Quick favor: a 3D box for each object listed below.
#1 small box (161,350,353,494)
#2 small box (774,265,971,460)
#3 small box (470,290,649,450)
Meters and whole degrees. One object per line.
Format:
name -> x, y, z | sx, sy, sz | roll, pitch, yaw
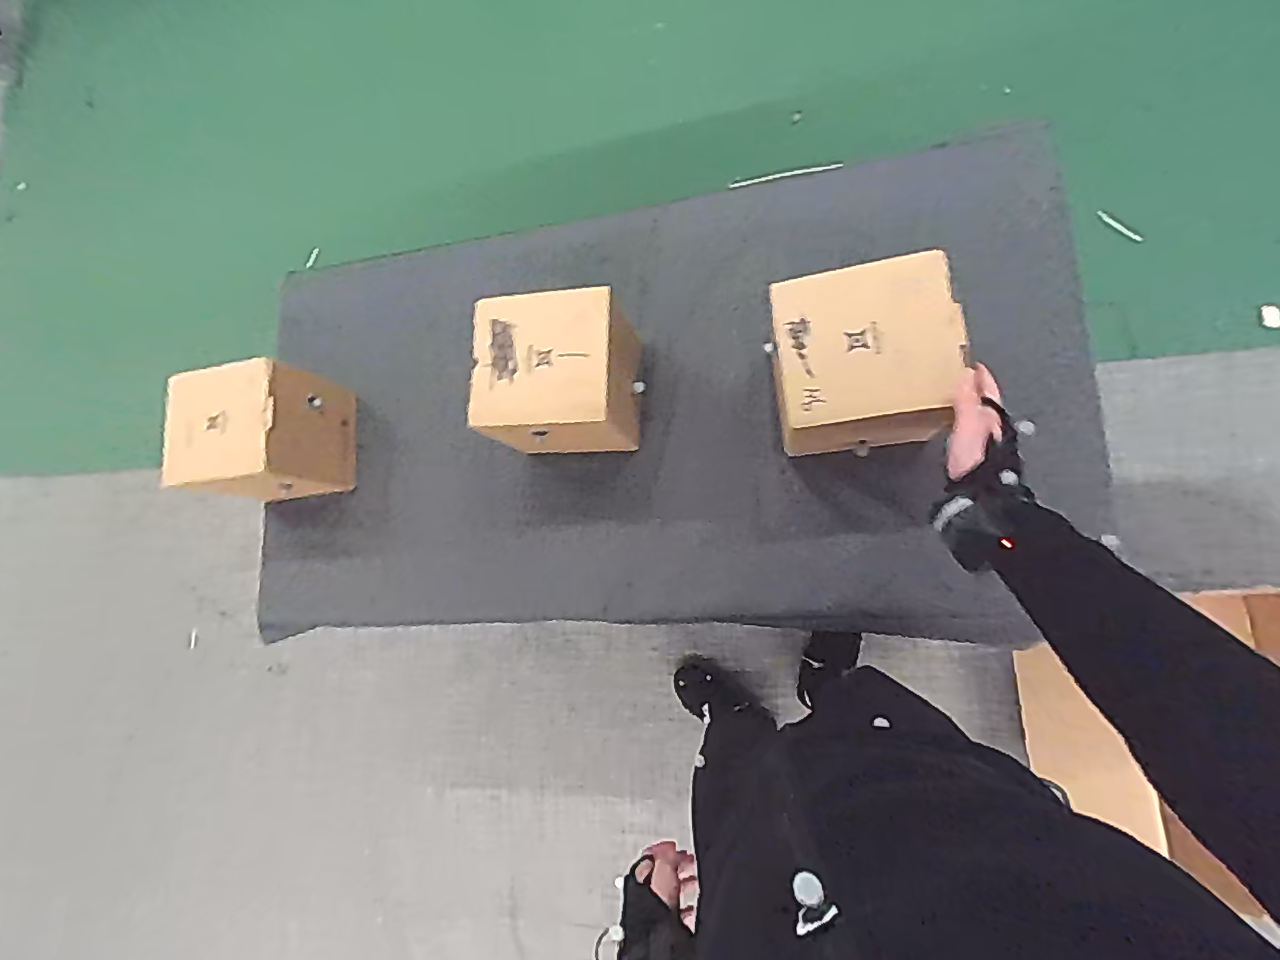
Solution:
small box -> -0.561, -0.076, 0.813 | 0.179, 0.176, 0.168 | -7, 79, 14
small box -> 0.261, -0.125, 0.650 | 0.179, 0.176, 0.168 | -9, 81, 13
small box -> -0.098, -0.135, 0.720 | 0.179, 0.176, 0.168 | 3, 84, 15
